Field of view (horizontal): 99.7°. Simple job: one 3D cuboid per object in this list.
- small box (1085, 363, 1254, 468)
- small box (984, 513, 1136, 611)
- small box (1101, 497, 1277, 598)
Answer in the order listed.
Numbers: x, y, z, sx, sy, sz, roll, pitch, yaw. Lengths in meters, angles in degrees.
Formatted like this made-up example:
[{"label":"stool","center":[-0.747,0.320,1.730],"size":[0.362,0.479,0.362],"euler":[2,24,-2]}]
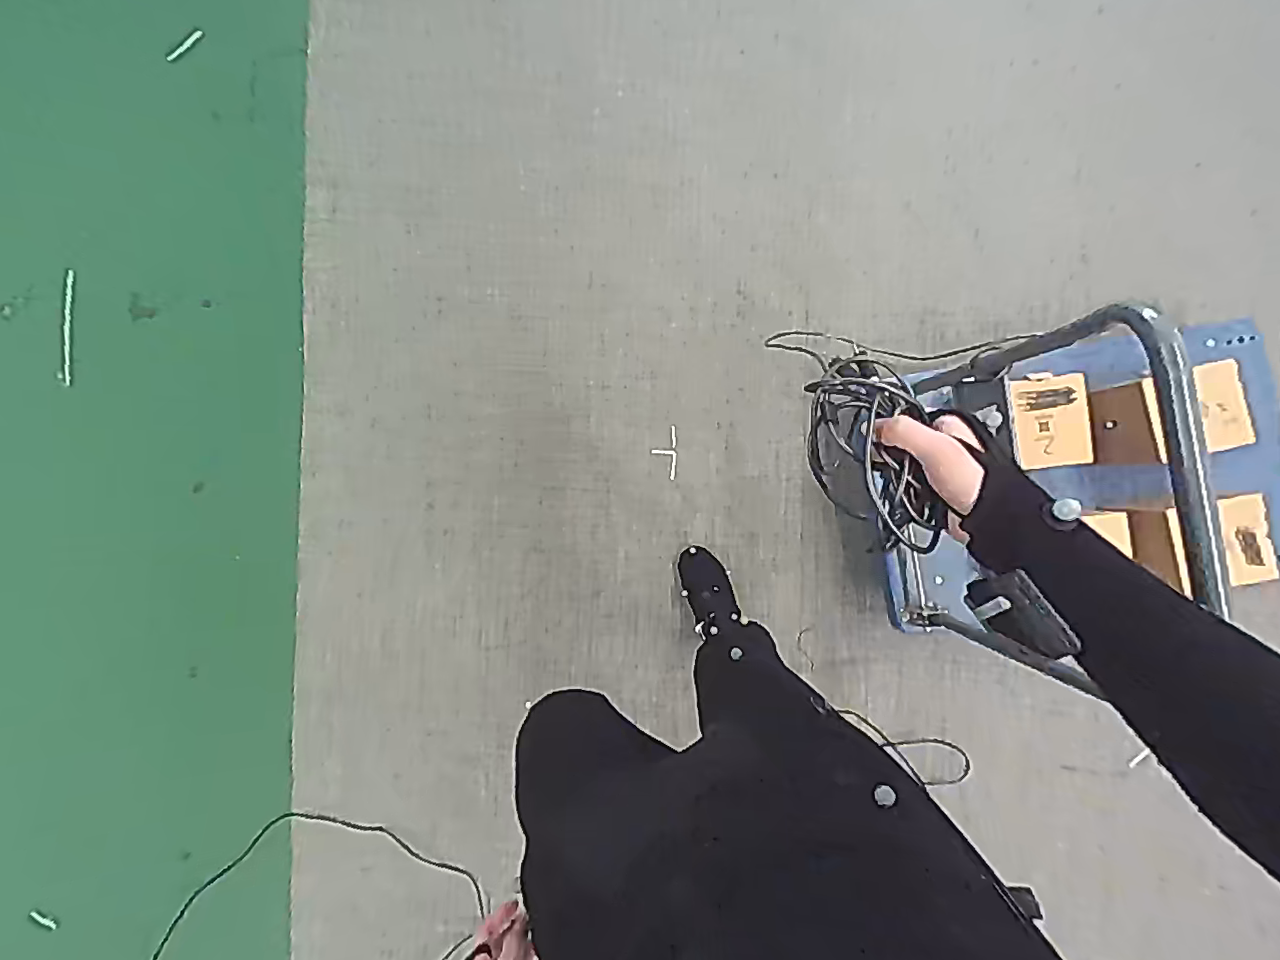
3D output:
[{"label":"small box","center":[1.053,-0.122,1.098],"size":[0.179,0.176,0.168],"euler":[-13,89,3]},{"label":"small box","center":[0.847,0.161,1.105],"size":[0.179,0.176,0.168],"euler":[-7,89,3]},{"label":"small box","center":[1.094,0.129,1.092],"size":[0.179,0.176,0.168],"euler":[-10,88,4]}]
